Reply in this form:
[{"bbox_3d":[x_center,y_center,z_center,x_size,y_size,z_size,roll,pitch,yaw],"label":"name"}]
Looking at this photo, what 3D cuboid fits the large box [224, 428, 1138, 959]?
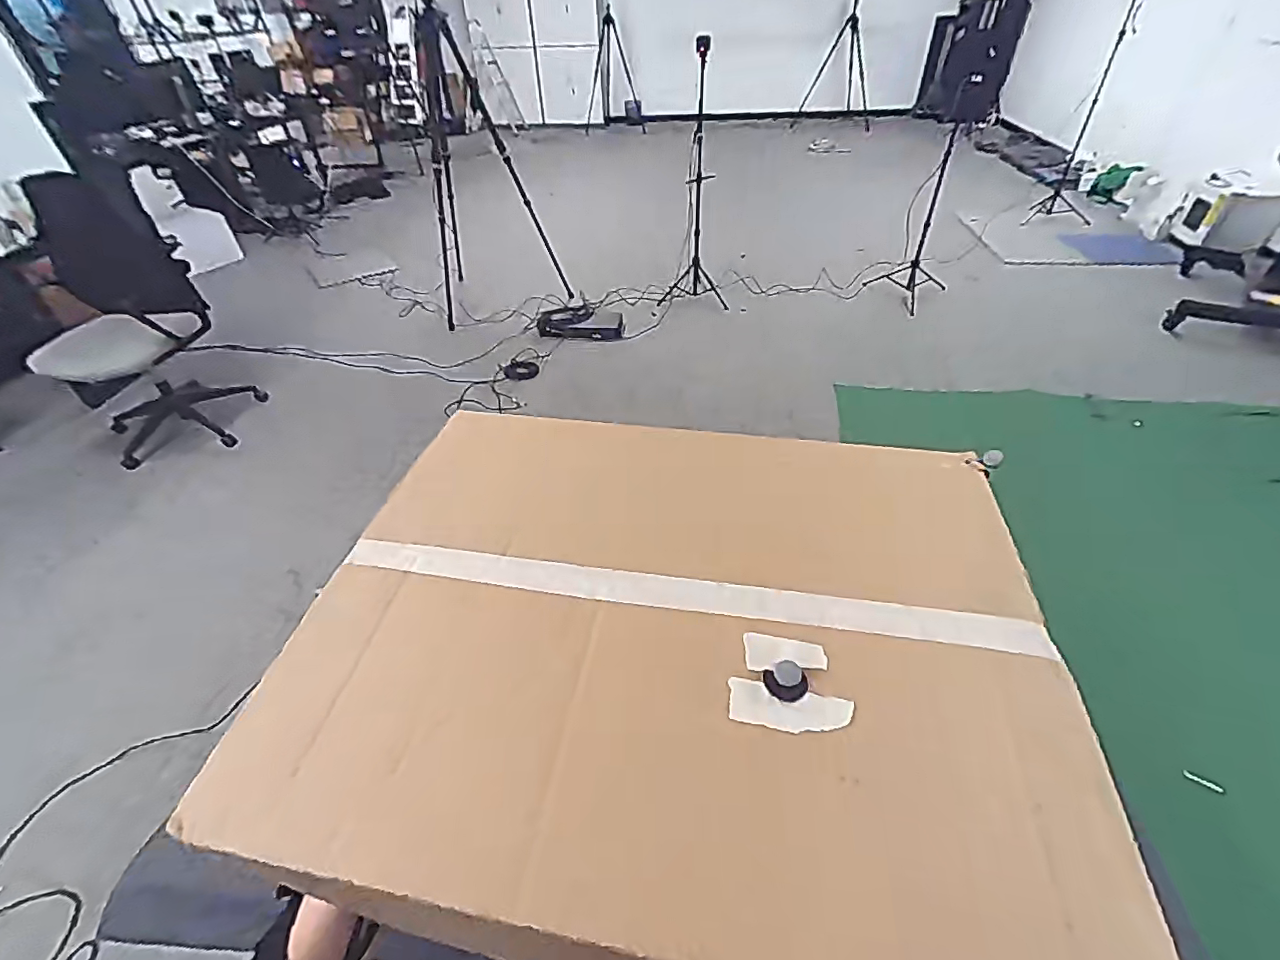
[{"bbox_3d":[0.024,0.183,0.435,0.408,0.320,0.320,6,45,9],"label":"large box"}]
